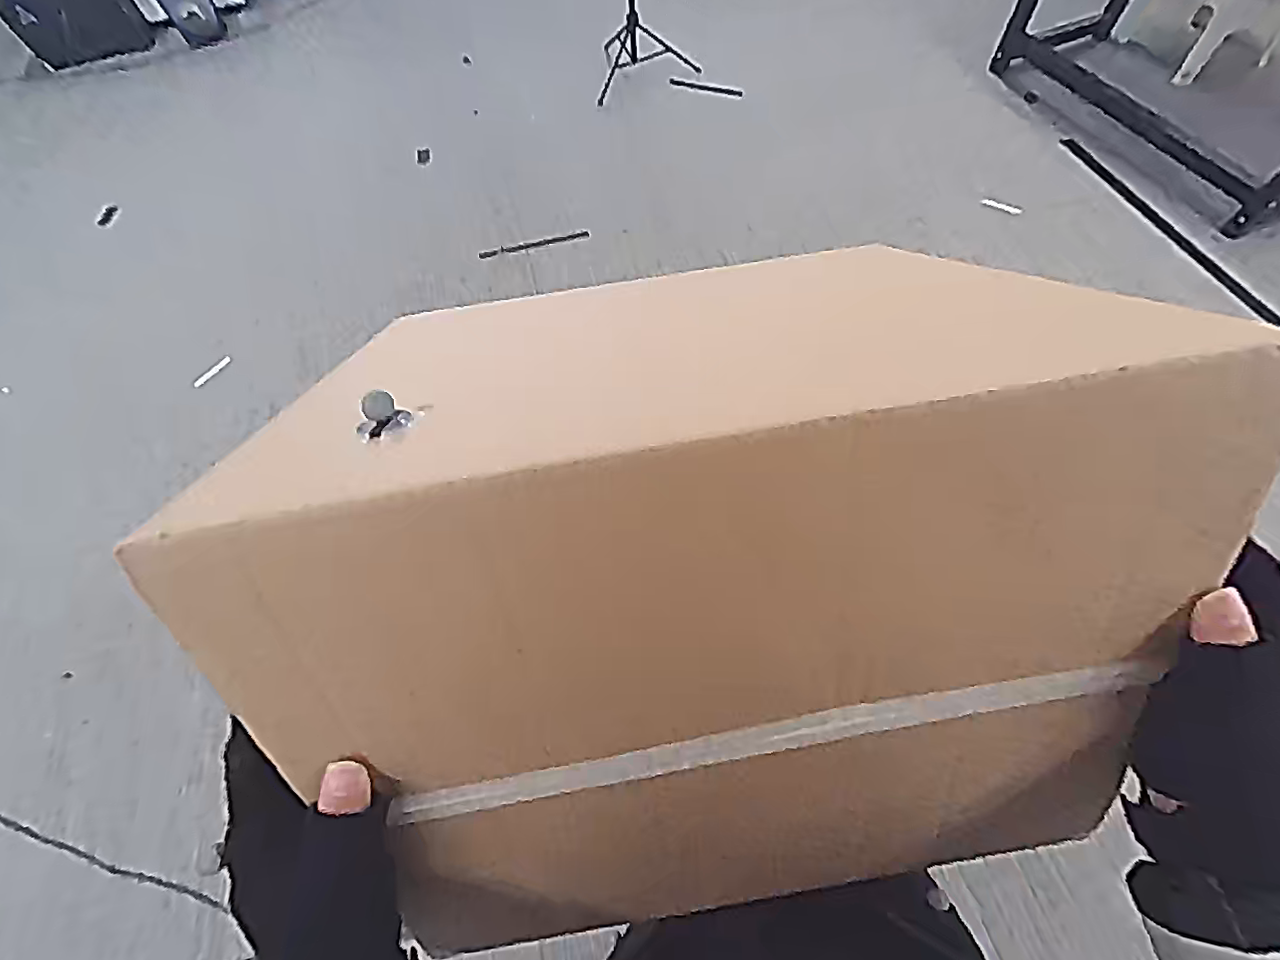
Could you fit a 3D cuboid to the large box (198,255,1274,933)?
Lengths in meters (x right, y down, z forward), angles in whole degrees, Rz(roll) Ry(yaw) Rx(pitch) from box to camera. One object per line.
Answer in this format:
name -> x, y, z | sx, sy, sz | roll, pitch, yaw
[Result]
large box -> 0.041, 0.043, 0.394 | 0.408, 0.320, 0.320 | -10, 30, -1
